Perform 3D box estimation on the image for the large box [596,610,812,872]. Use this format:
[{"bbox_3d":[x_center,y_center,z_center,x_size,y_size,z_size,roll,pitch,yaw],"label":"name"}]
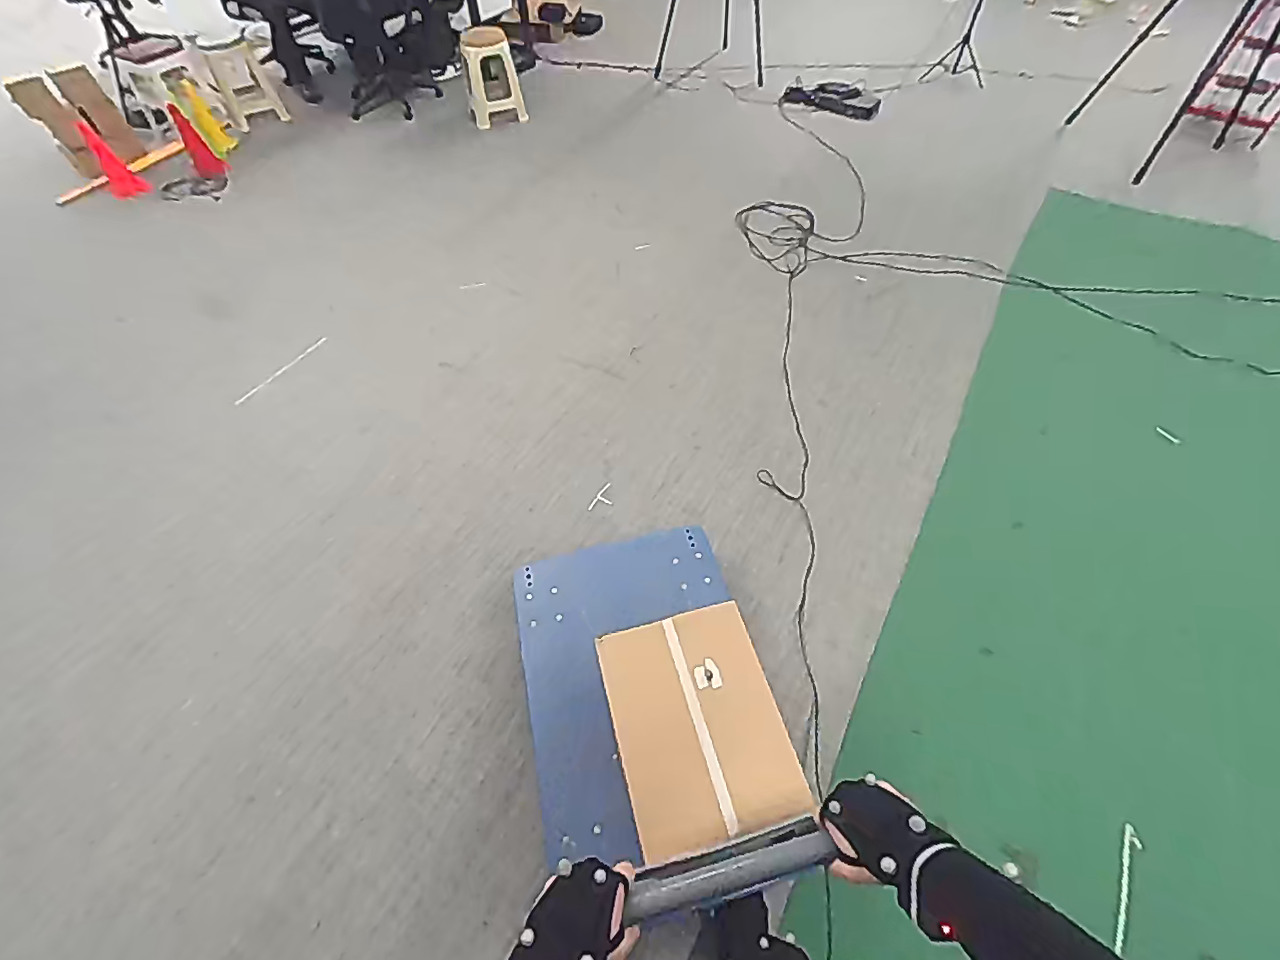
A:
[{"bbox_3d":[0.113,0.560,1.167,0.320,0.320,0.408,-13,54,-9],"label":"large box"}]
